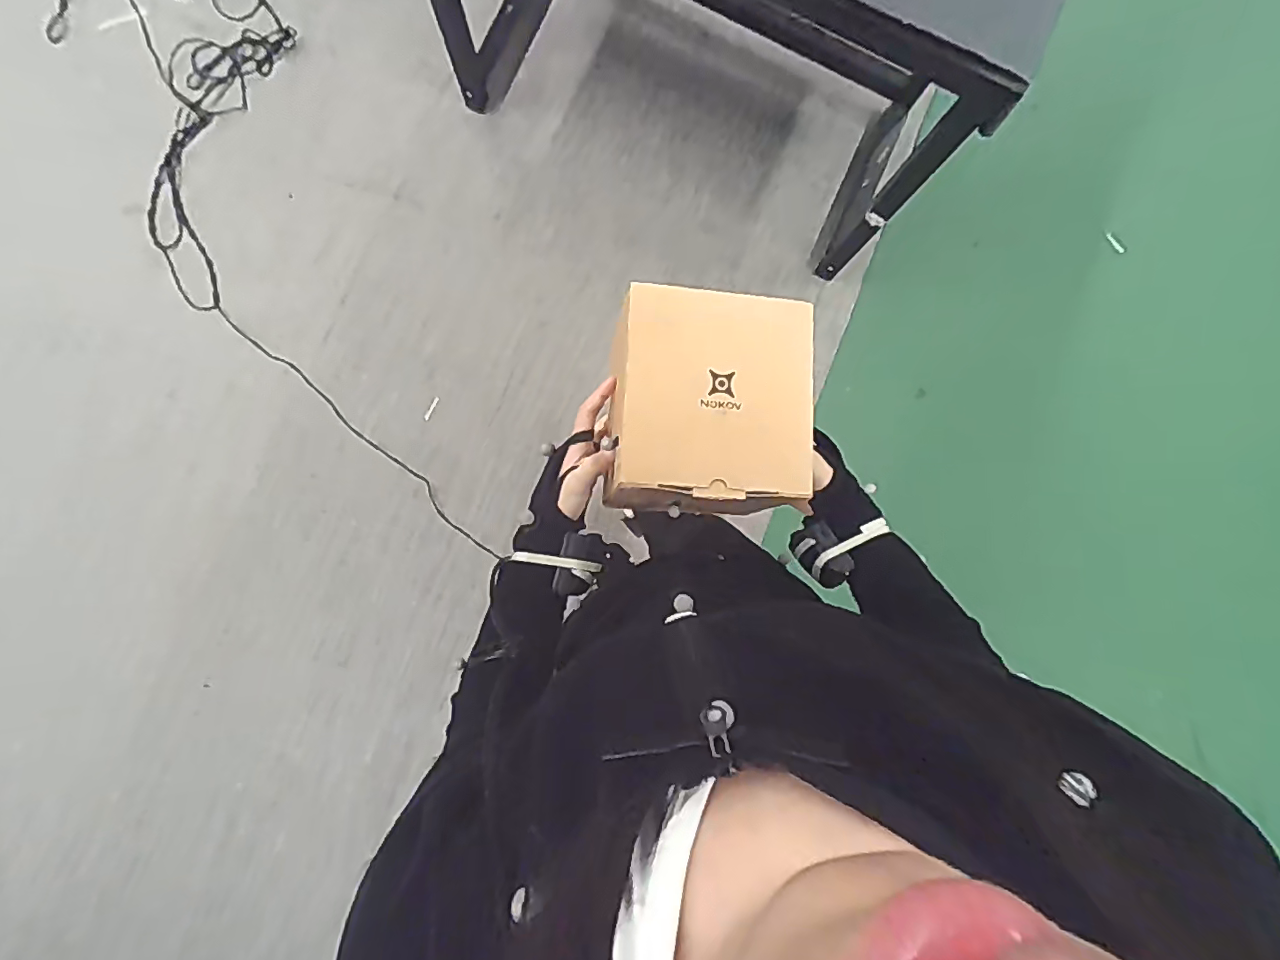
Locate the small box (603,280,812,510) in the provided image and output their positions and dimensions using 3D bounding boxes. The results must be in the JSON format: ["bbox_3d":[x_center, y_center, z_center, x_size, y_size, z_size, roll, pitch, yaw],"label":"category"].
[{"bbox_3d":[0.055,-0.069,0.536,0.168,0.176,0.179,4,82,-9],"label":"small box"}]
